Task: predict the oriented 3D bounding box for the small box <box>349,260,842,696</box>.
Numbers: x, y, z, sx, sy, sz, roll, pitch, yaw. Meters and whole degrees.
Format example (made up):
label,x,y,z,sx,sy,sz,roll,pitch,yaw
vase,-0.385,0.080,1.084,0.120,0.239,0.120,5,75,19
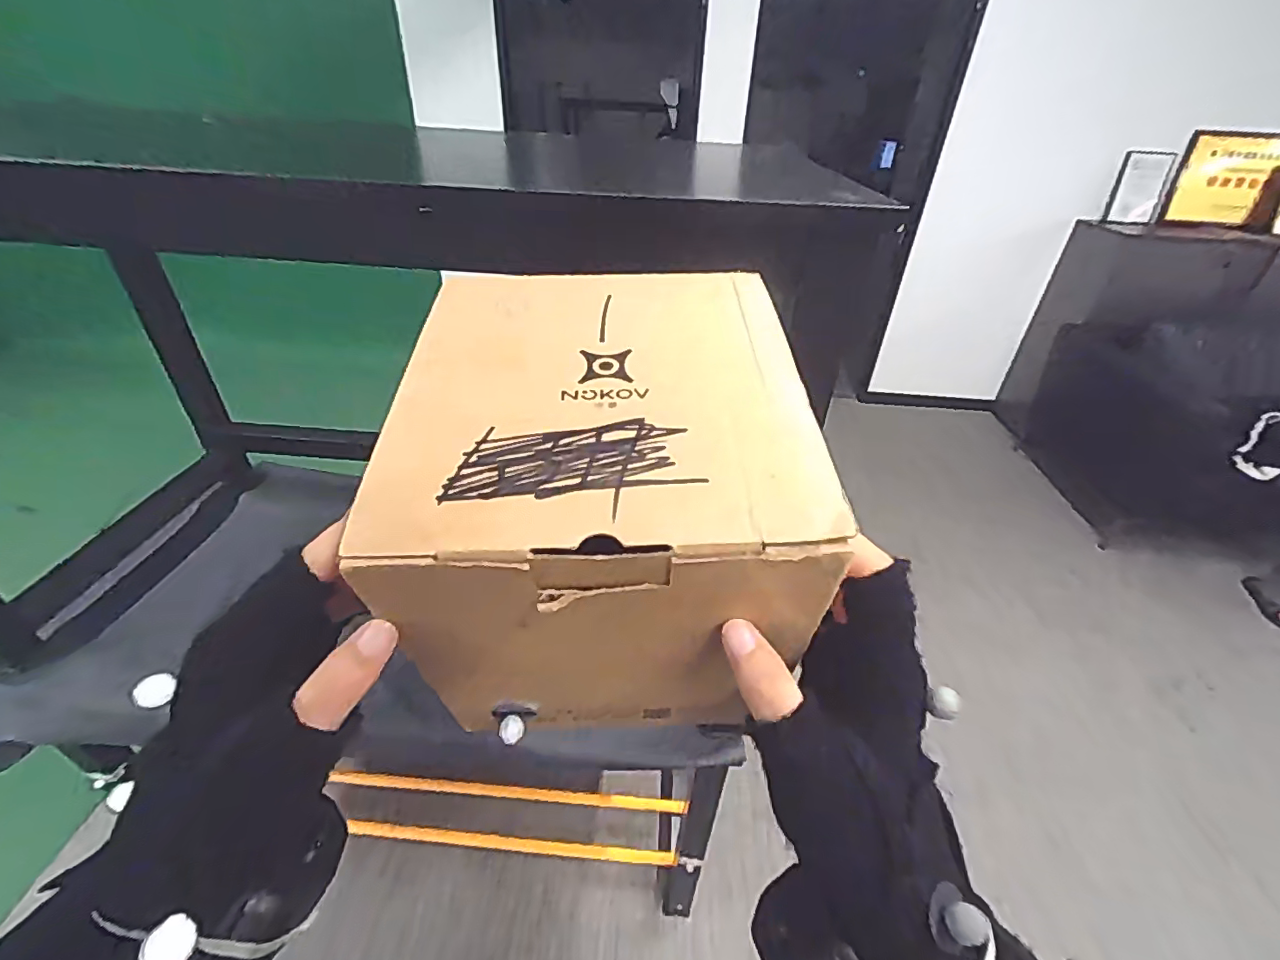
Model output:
label,x,y,z,sx,sy,sz,roll,pitch,yaw
small box,-0.016,0.004,0.289,0.168,0.176,0.179,-1,48,-2
